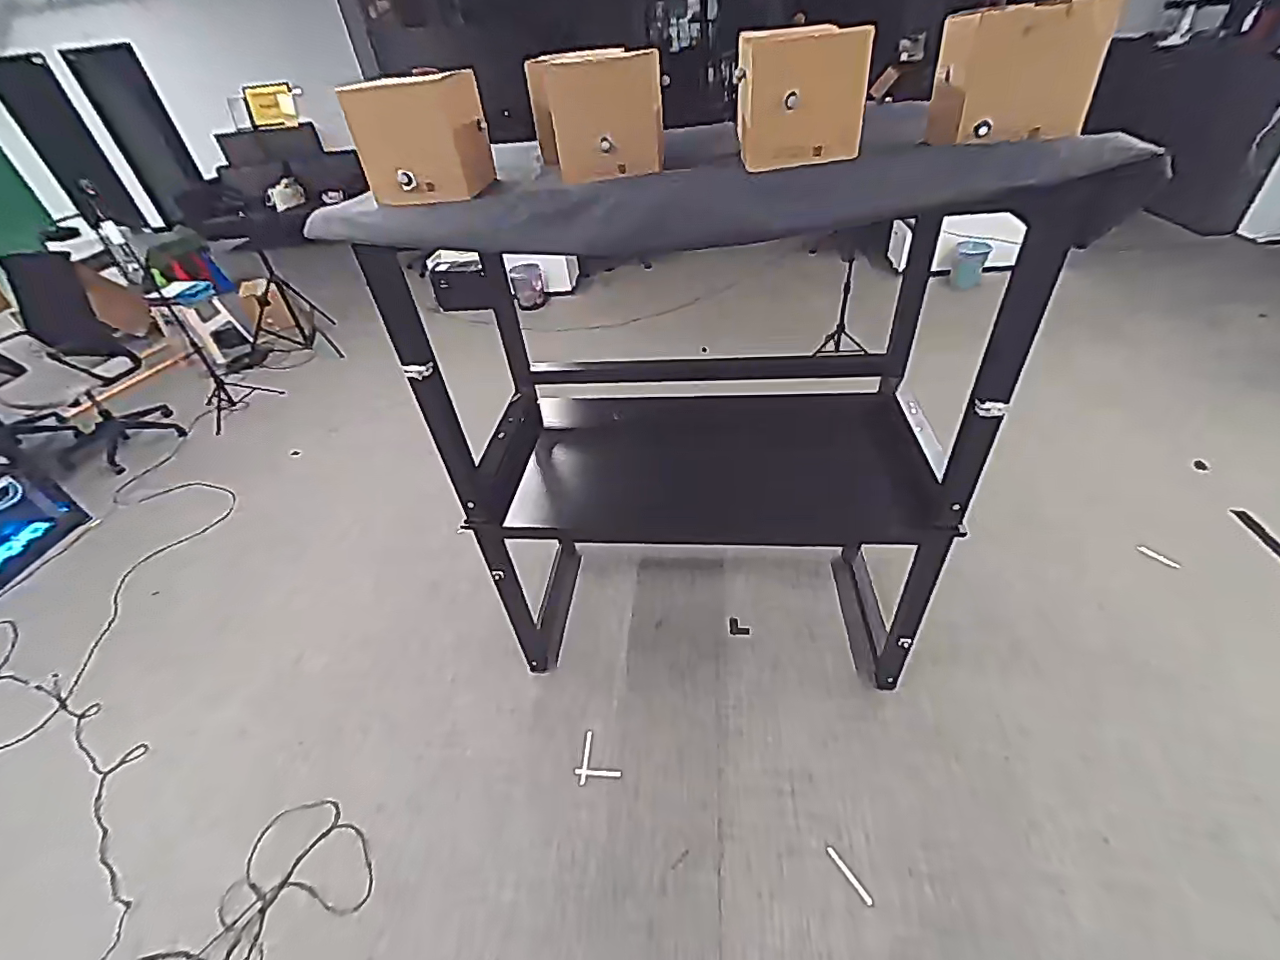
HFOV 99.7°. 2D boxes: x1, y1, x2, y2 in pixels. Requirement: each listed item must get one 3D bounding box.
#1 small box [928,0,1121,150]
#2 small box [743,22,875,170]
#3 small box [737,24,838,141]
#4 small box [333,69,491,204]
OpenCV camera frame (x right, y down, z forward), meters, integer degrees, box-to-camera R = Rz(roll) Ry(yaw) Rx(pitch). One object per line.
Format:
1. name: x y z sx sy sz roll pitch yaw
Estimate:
1. small box: 0.547 -0.594 0.797 0.168 0.176 0.179 1 37 10
2. small box: 0.249 -0.591 0.841 0.168 0.176 0.179 -1 38 7
3. small box: 0.277 -0.769 1.052 0.168 0.176 0.179 -1 40 7
4. small box: -0.361 -0.570 0.900 0.168 0.176 0.179 -2 40 6
